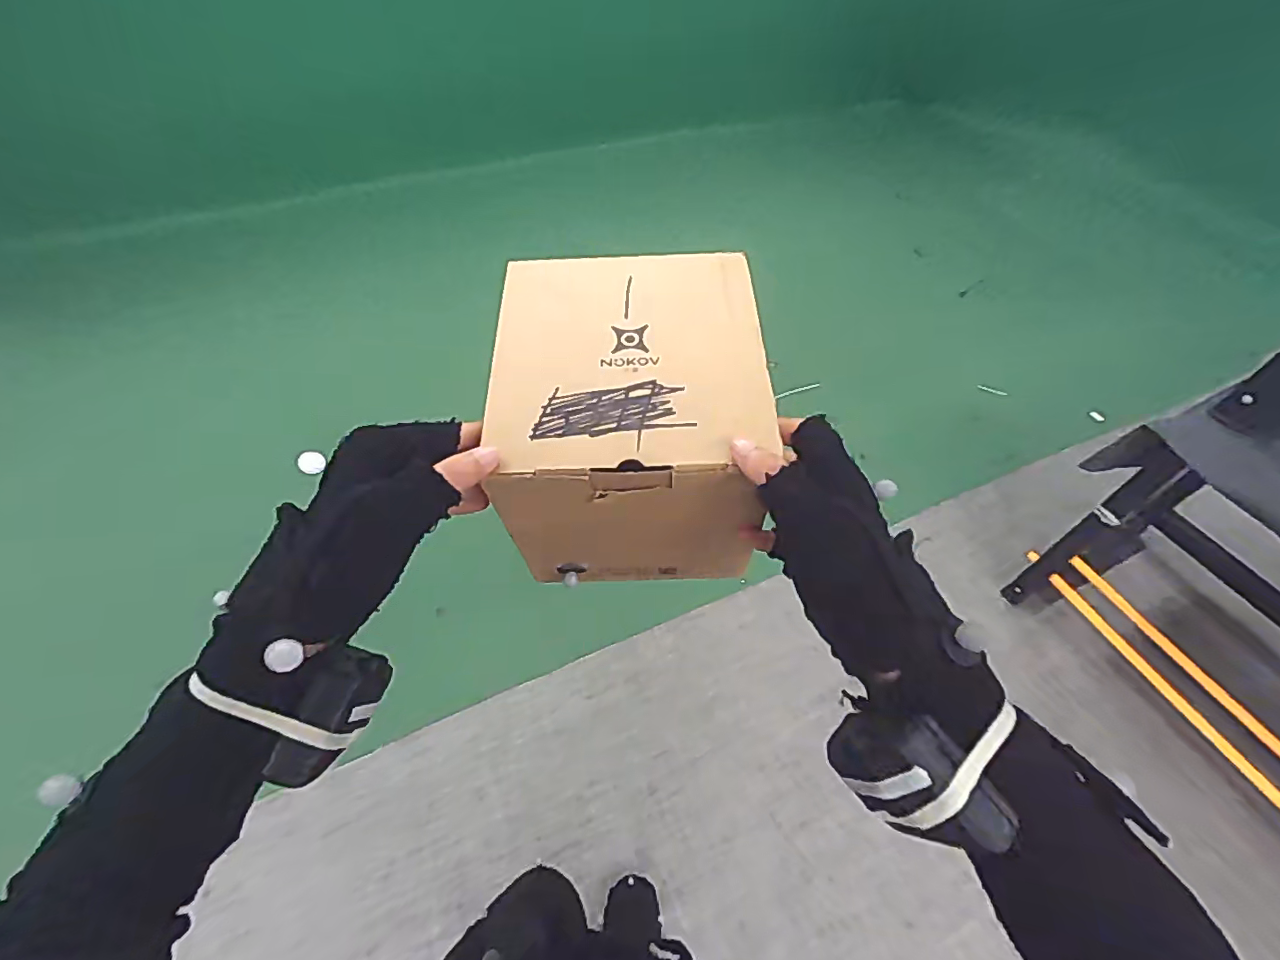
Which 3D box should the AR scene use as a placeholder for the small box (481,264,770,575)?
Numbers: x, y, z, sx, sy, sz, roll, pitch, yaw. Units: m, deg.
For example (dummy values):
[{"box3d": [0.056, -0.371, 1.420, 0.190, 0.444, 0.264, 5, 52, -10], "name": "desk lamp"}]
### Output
[{"box3d": [-0.005, -0.033, 0.408, 0.168, 0.176, 0.179, -1, 59, 1], "name": "small box"}]
